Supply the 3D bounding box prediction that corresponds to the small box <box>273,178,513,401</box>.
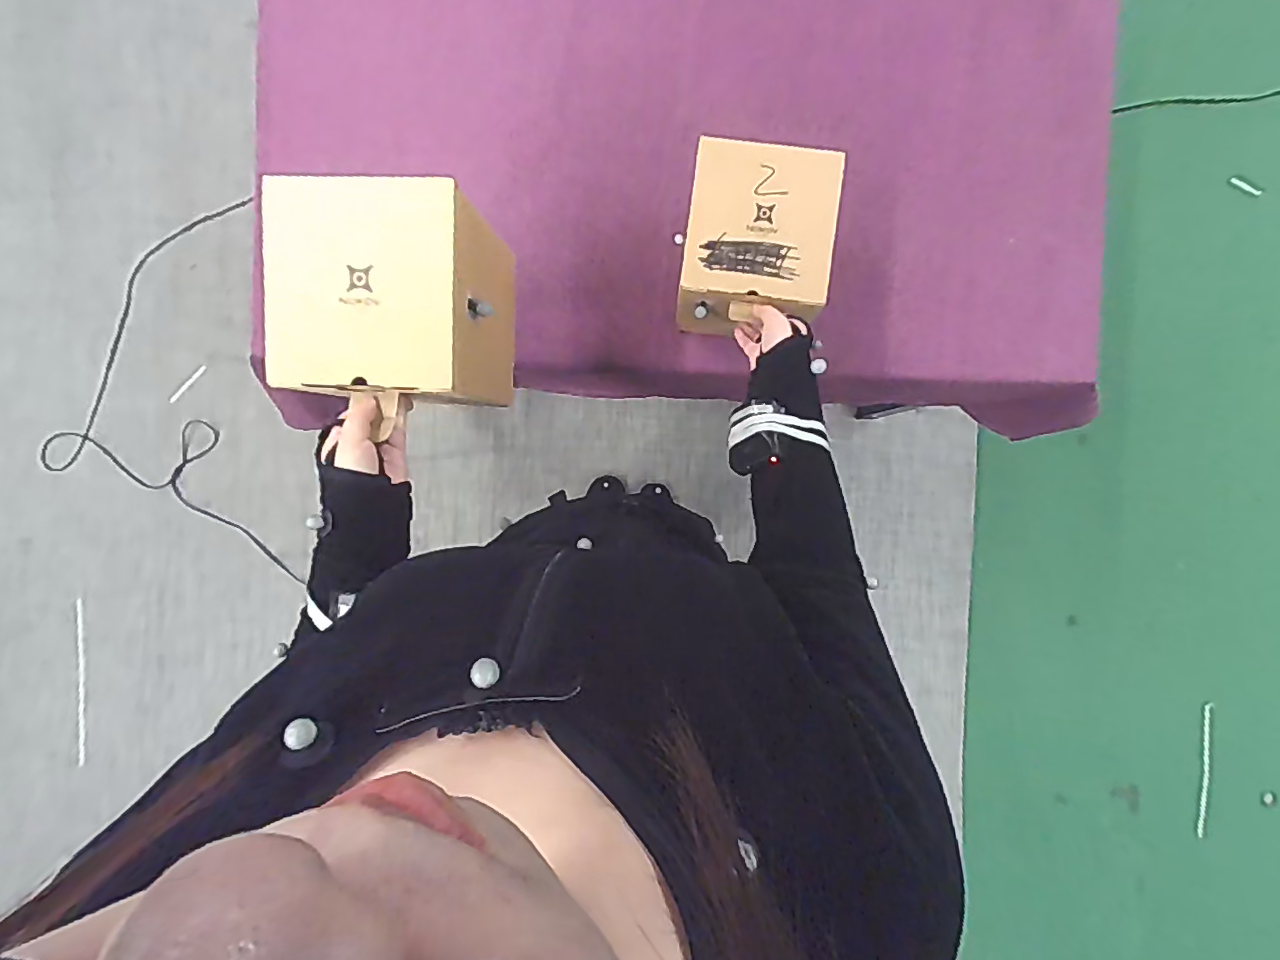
[{"bbox_3d":[-0.233,-0.176,0.547,0.168,0.176,0.179,2,96,3],"label":"small box"}]
